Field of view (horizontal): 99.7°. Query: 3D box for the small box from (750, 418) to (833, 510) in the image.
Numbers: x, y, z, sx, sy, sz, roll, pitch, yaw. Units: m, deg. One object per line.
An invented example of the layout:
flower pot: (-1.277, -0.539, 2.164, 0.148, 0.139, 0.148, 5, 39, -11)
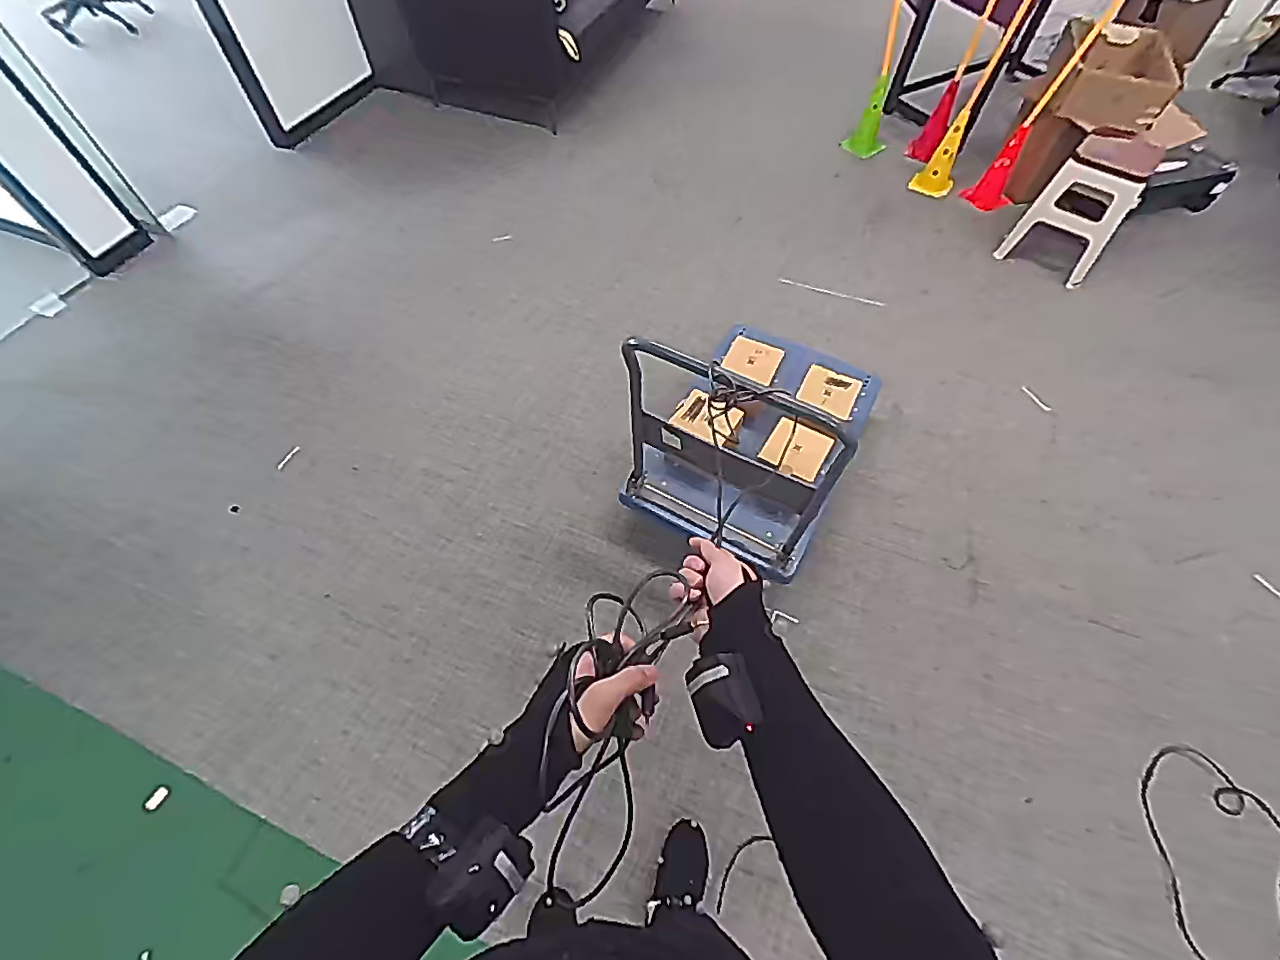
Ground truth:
small box: (0.441, -0.044, 1.600, 0.168, 0.176, 0.179, 28, 63, 17)

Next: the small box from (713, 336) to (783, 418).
small box: (0.349, -0.333, 1.777, 0.168, 0.176, 0.179, 23, 61, 13)

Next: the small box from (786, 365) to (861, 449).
small box: (0.571, -0.226, 1.708, 0.168, 0.176, 0.179, 24, 62, 16)
